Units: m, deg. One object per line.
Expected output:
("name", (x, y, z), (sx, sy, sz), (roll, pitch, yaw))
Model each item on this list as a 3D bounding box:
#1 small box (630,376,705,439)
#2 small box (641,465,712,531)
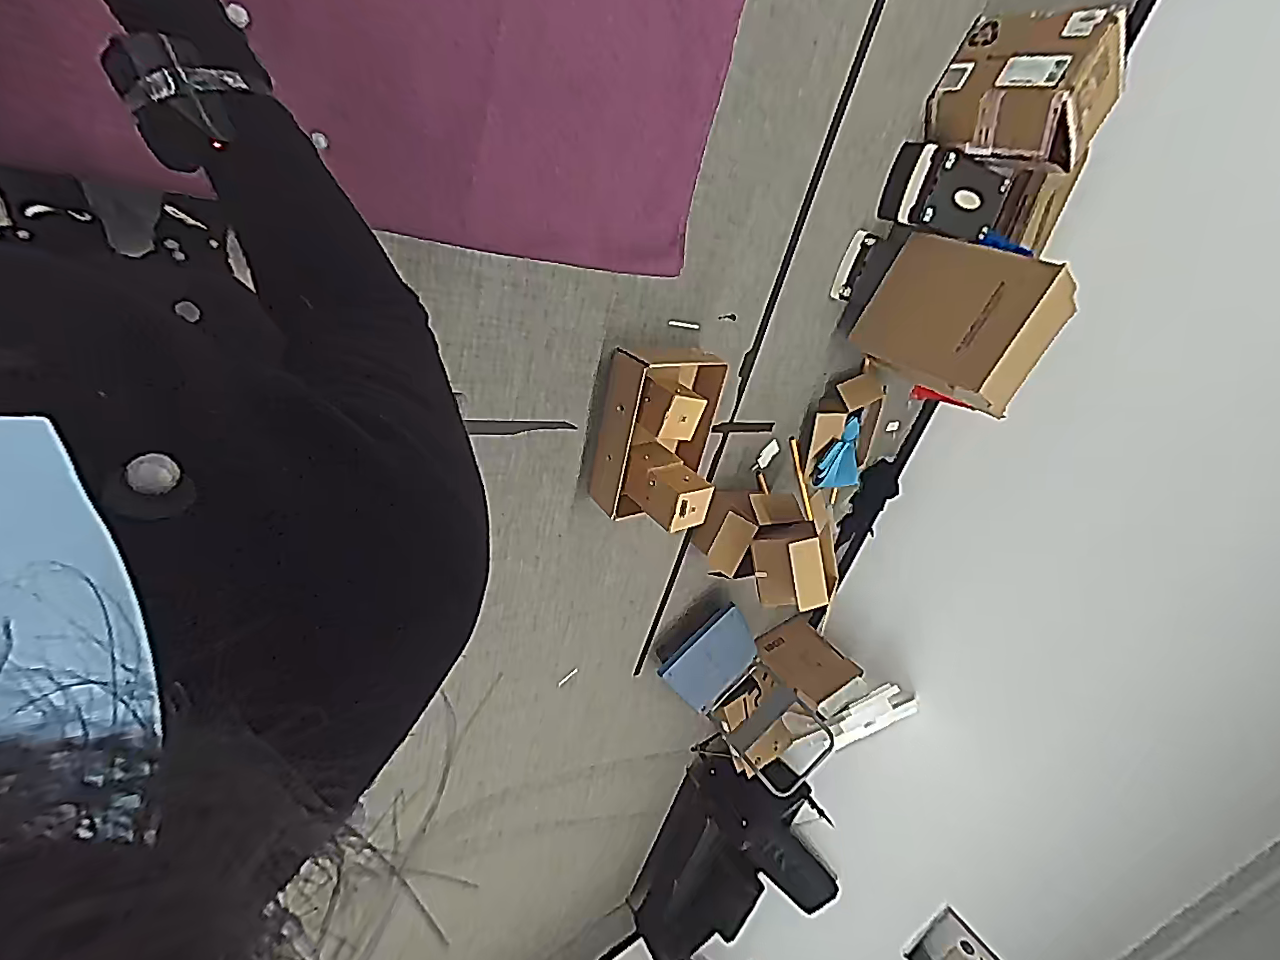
("small box", (0.096, -0.263, 1.954), (0.179, 0.176, 0.168), (0, 121, -43))
("small box", (0.128, 0.060, 1.977), (0.179, 0.176, 0.168), (-11, 127, -38))
